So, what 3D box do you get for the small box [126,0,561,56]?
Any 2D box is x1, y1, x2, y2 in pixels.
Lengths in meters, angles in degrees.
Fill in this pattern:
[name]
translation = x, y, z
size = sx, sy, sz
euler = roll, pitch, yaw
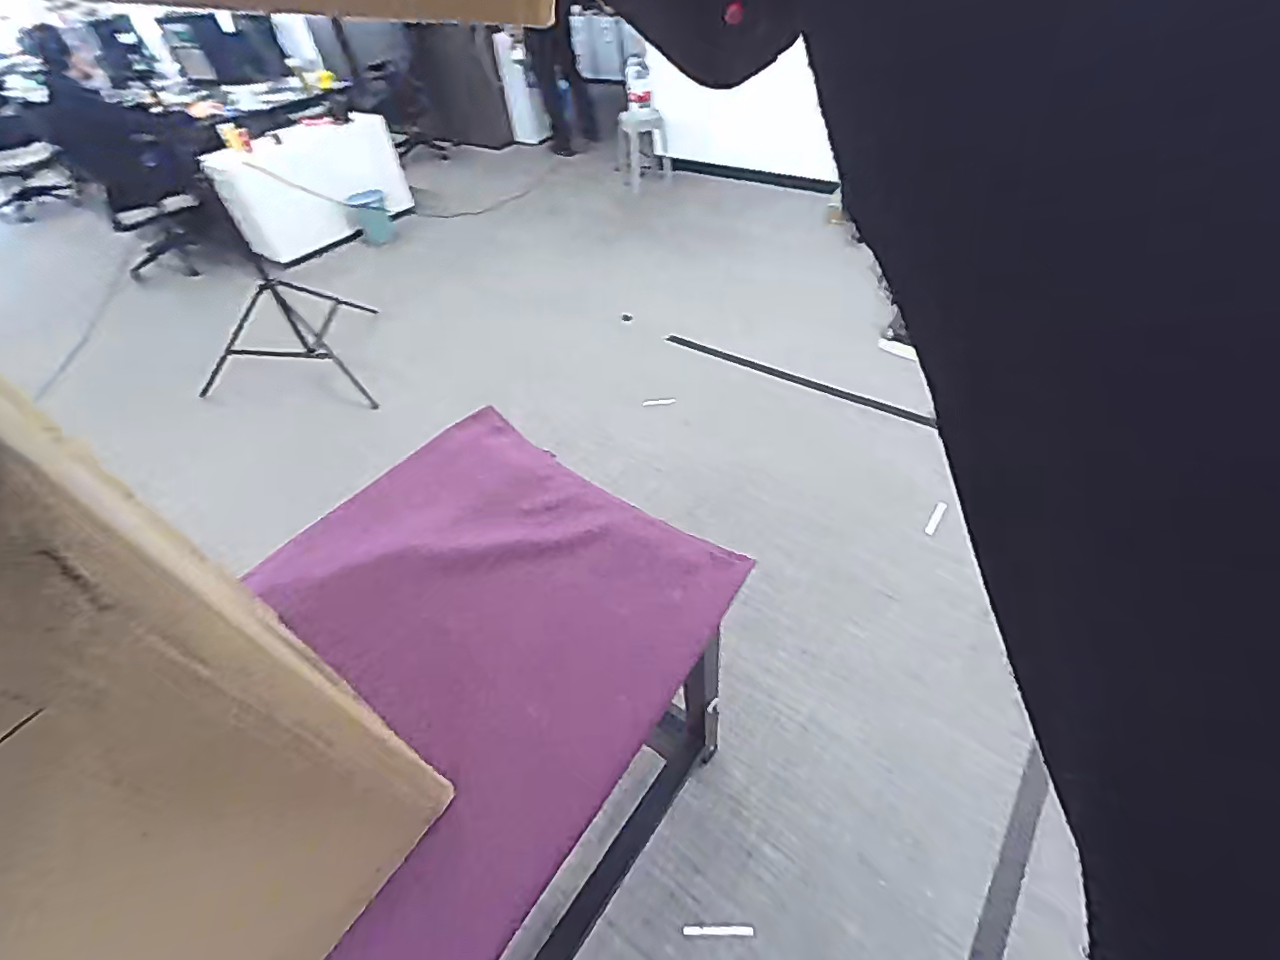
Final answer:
[small box]
translation = -0.120, -0.288, 0.193
size = 0.179, 0.176, 0.168
euler = -11, 65, -16
